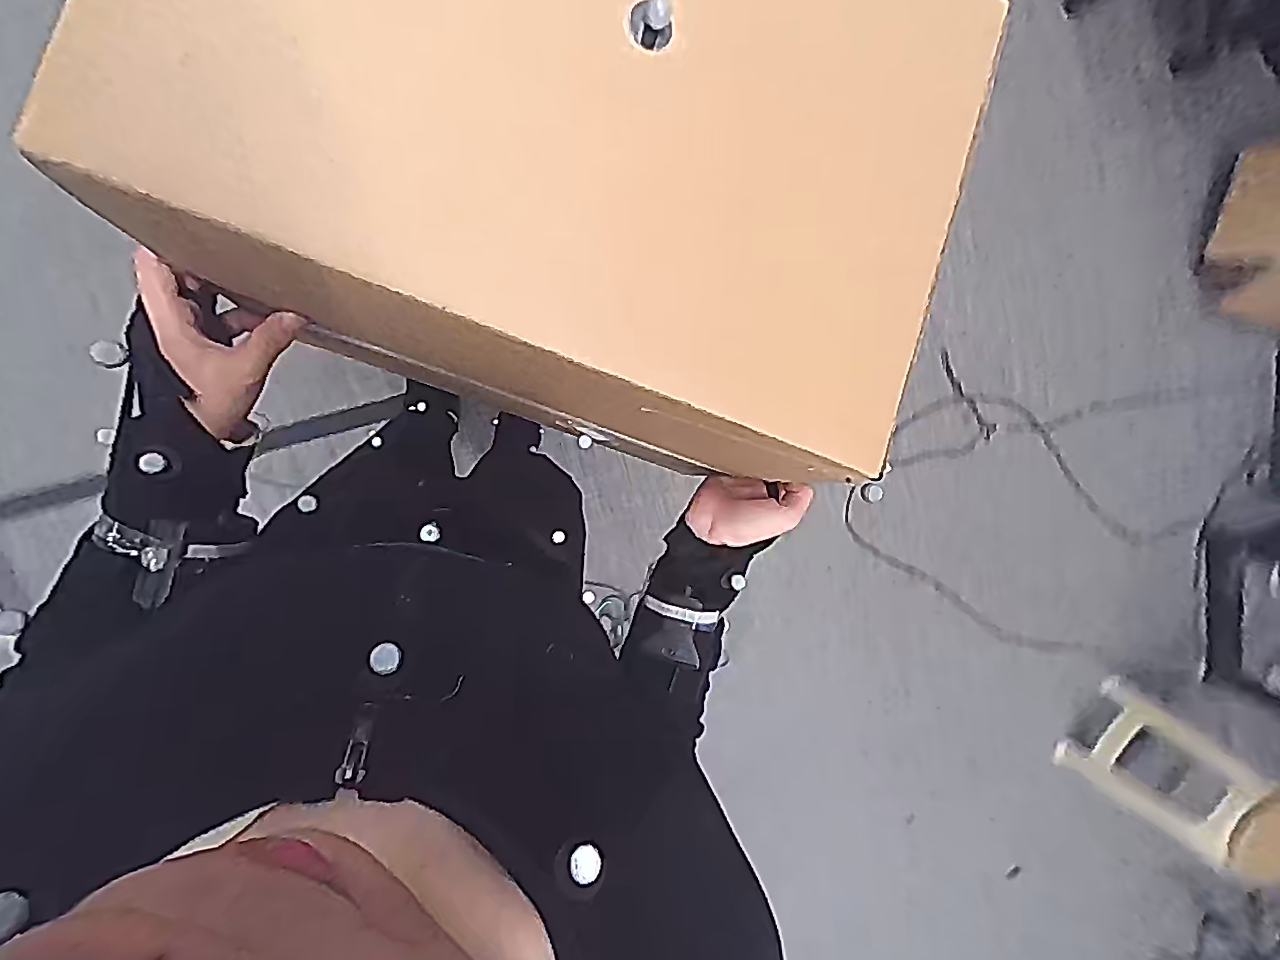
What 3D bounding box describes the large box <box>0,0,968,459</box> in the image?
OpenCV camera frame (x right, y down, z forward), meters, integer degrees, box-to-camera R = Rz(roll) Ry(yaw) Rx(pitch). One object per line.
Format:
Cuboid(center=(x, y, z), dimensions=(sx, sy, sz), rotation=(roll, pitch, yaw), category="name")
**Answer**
Cuboid(center=(-0.062, -0.220, 0.399), dimensions=(0.408, 0.320, 0.320), rotation=(15, 89, -16), category="large box")
